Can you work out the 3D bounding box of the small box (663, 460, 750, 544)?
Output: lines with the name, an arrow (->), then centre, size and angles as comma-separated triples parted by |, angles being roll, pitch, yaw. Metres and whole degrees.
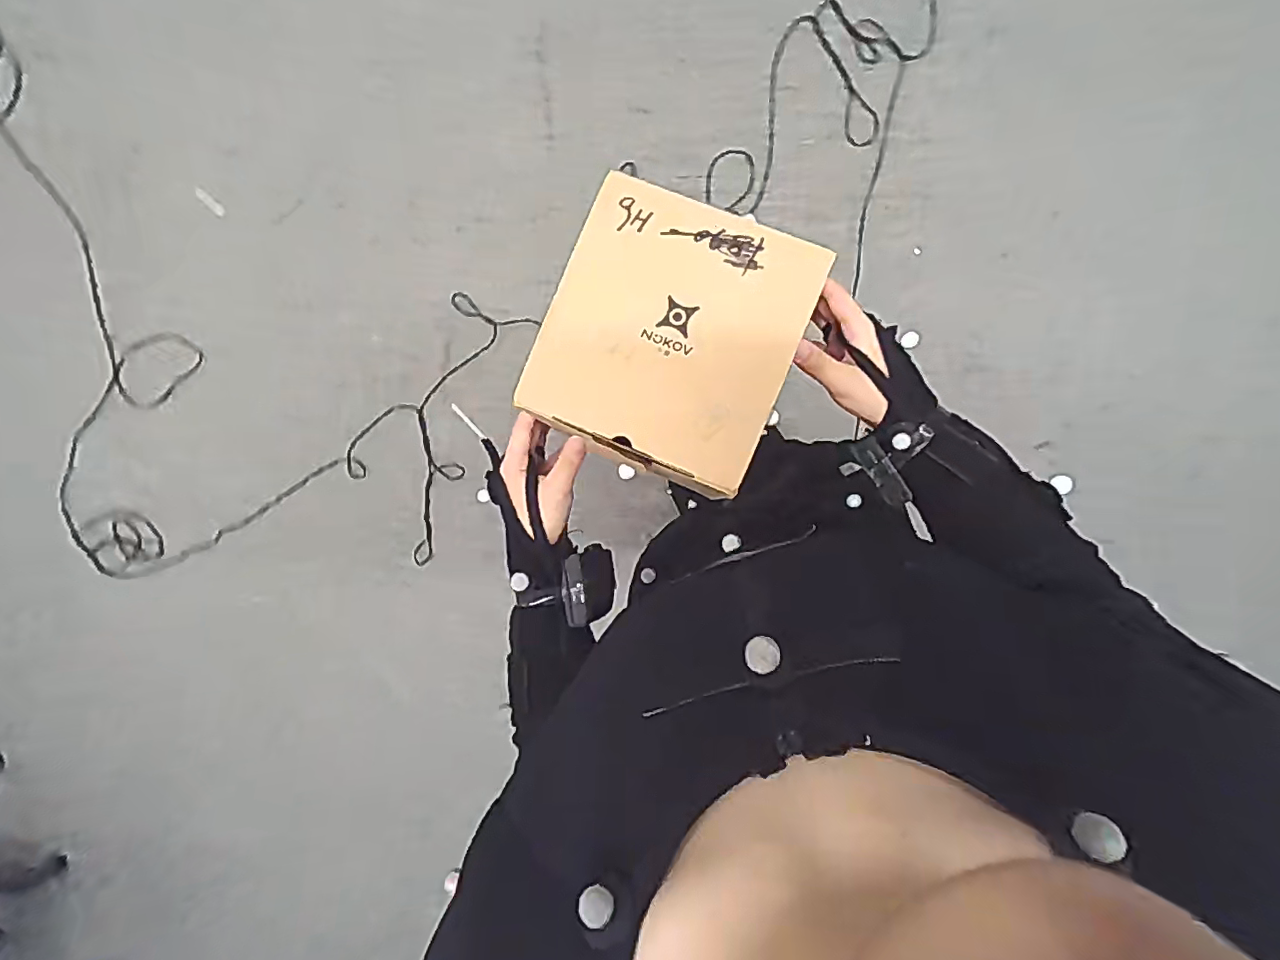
small box -> 0.163, 0.050, 1.318 | 0.179, 0.176, 0.168 | 16, 93, 14
